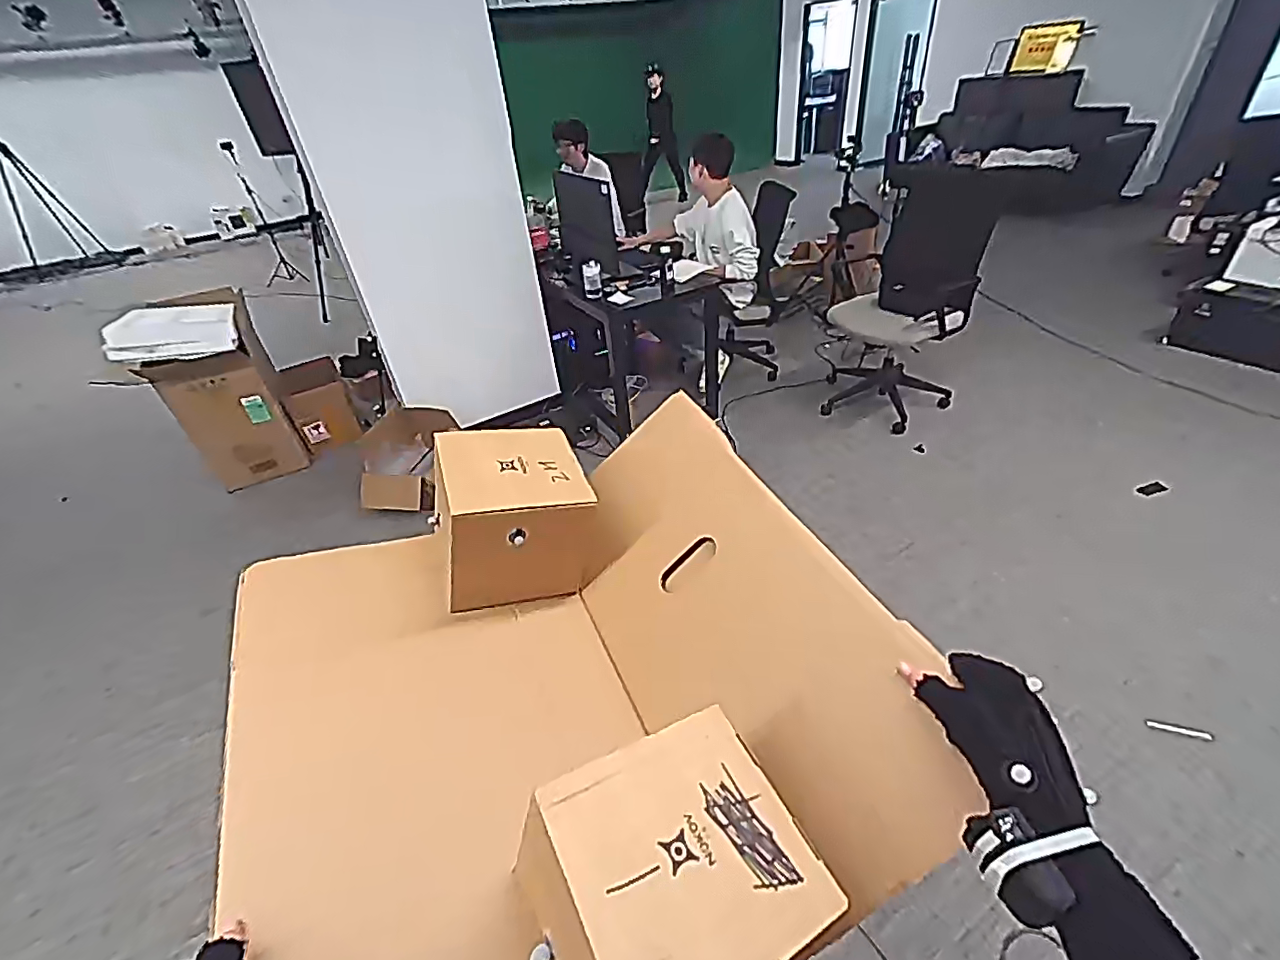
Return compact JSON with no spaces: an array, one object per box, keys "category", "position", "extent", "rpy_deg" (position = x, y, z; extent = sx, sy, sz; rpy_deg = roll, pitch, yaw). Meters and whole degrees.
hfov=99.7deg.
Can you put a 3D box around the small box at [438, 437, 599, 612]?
[{"category":"small box","position":[-0.172,0.058,0.730],"extent":[0.179,0.176,0.168],"rpy_deg":[-4,40,-25]}]
